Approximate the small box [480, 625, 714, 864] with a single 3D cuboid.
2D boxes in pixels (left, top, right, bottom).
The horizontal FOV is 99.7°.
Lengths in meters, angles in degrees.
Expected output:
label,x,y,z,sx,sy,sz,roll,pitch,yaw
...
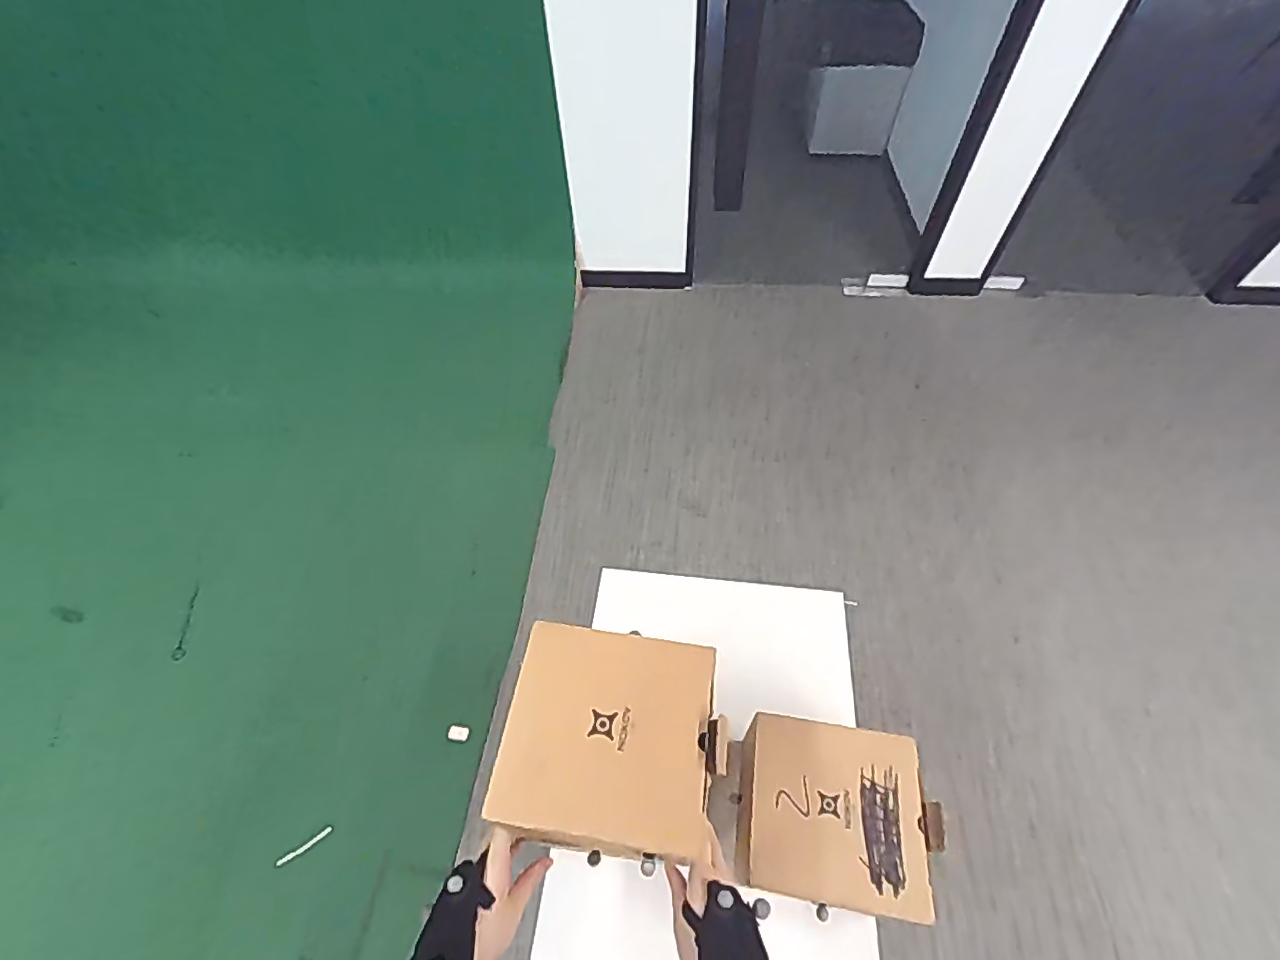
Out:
label,x,y,z,sx,sy,sz,roll,pitch,yaw
small box,-0.030,0.260,0.526,0.179,0.176,0.168,7,54,4
